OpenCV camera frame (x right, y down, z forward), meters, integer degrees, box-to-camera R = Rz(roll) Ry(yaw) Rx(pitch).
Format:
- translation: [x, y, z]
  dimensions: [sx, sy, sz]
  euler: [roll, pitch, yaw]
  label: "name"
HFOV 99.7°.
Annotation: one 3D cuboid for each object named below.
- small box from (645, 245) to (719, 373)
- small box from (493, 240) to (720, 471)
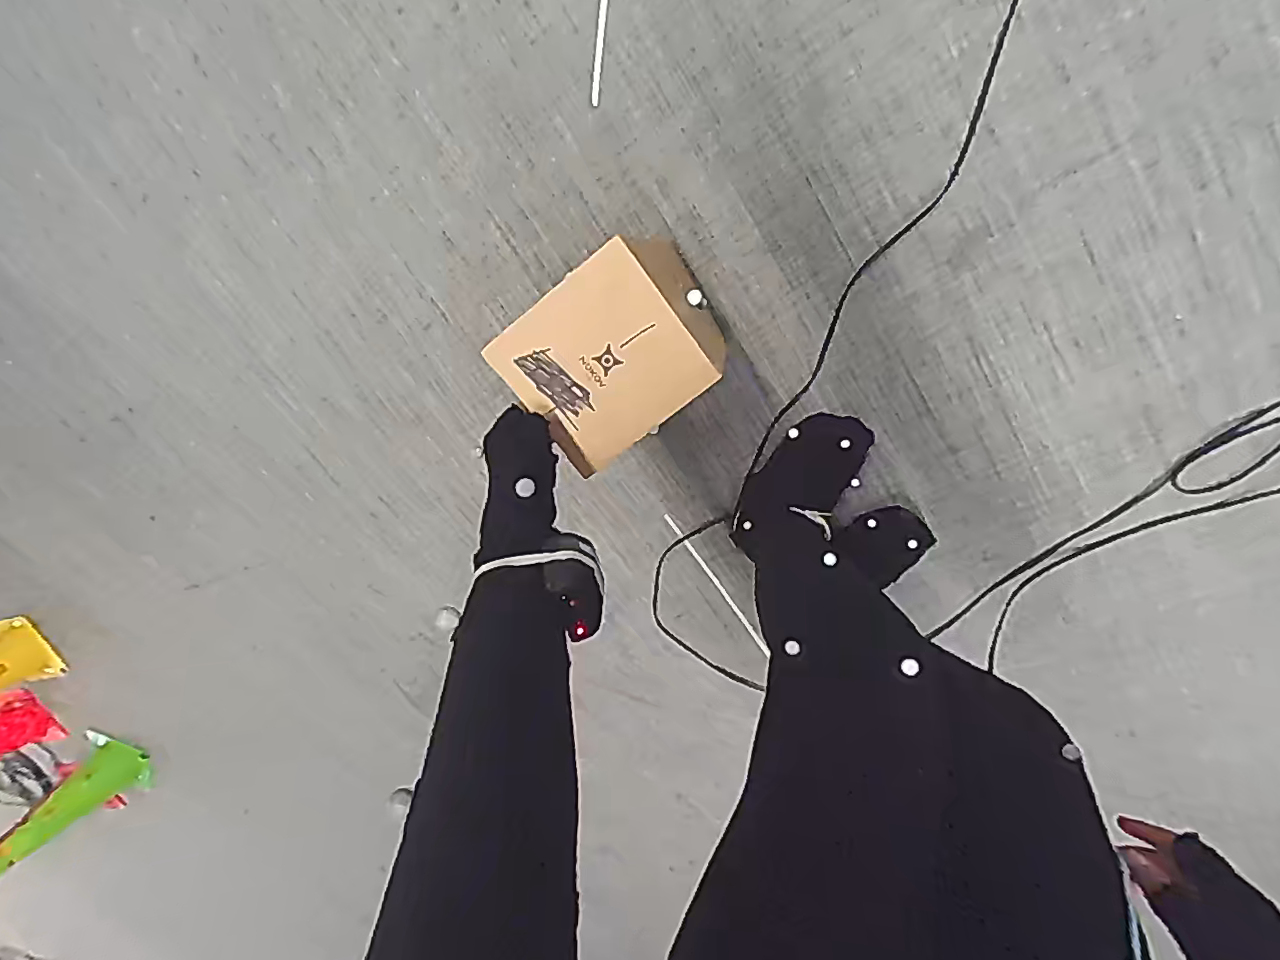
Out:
- translation: [0.002, -0.210, 0.760]
  dimensions: [0.168, 0.176, 0.179]
  euler: [-27, 106, 20]
  label: "small box"
- translation: [-0.024, -0.143, 0.611]
  dimensions: [0.179, 0.176, 0.168]
  euler: [-34, 103, 21]
  label: "small box"
